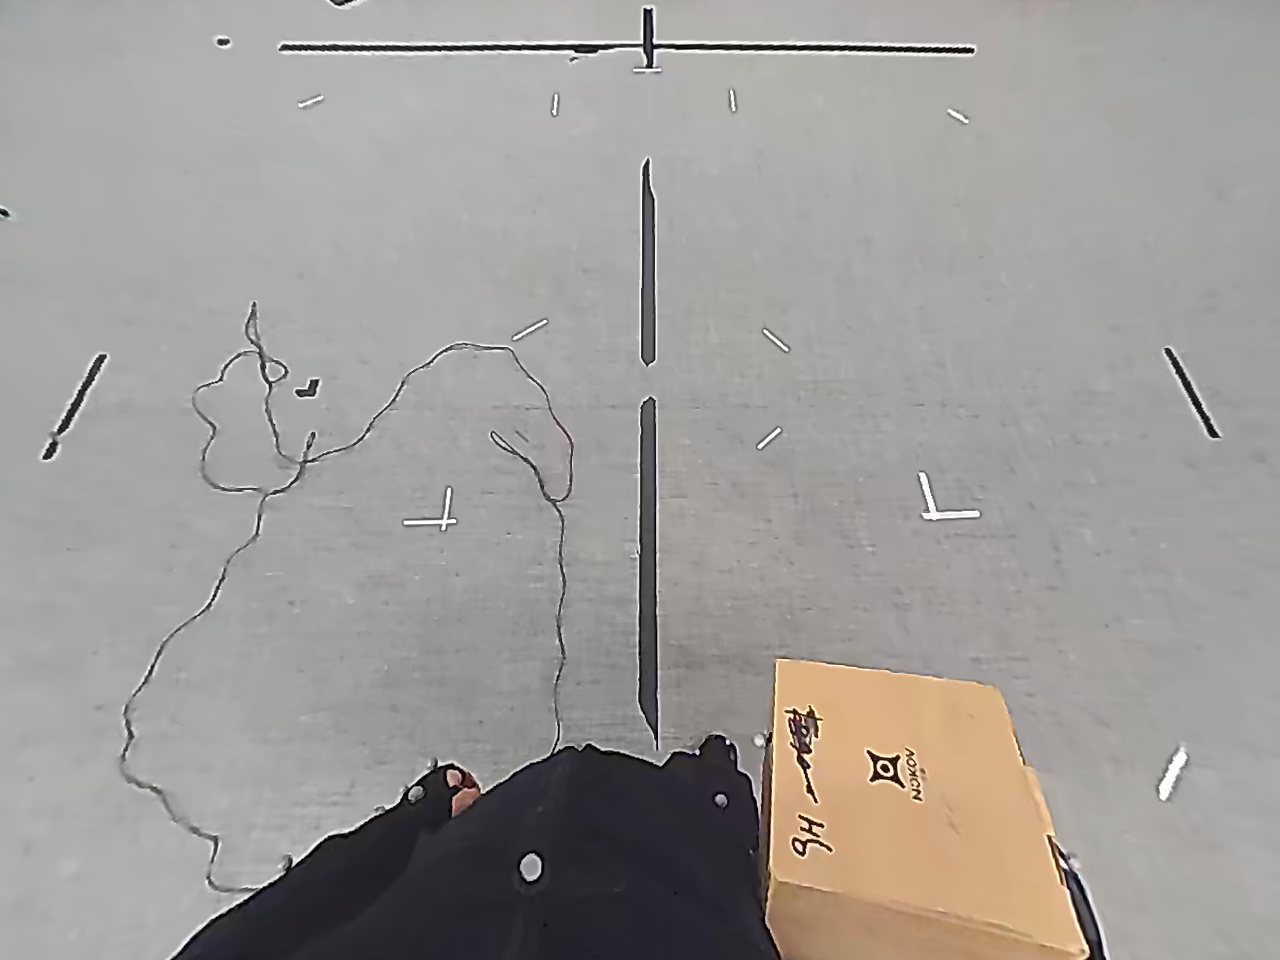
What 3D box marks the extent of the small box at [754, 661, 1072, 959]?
[{"bbox_3d":[0.193,0.280,0.441,0.179,0.176,0.168,5,36,13],"label":"small box"}]
